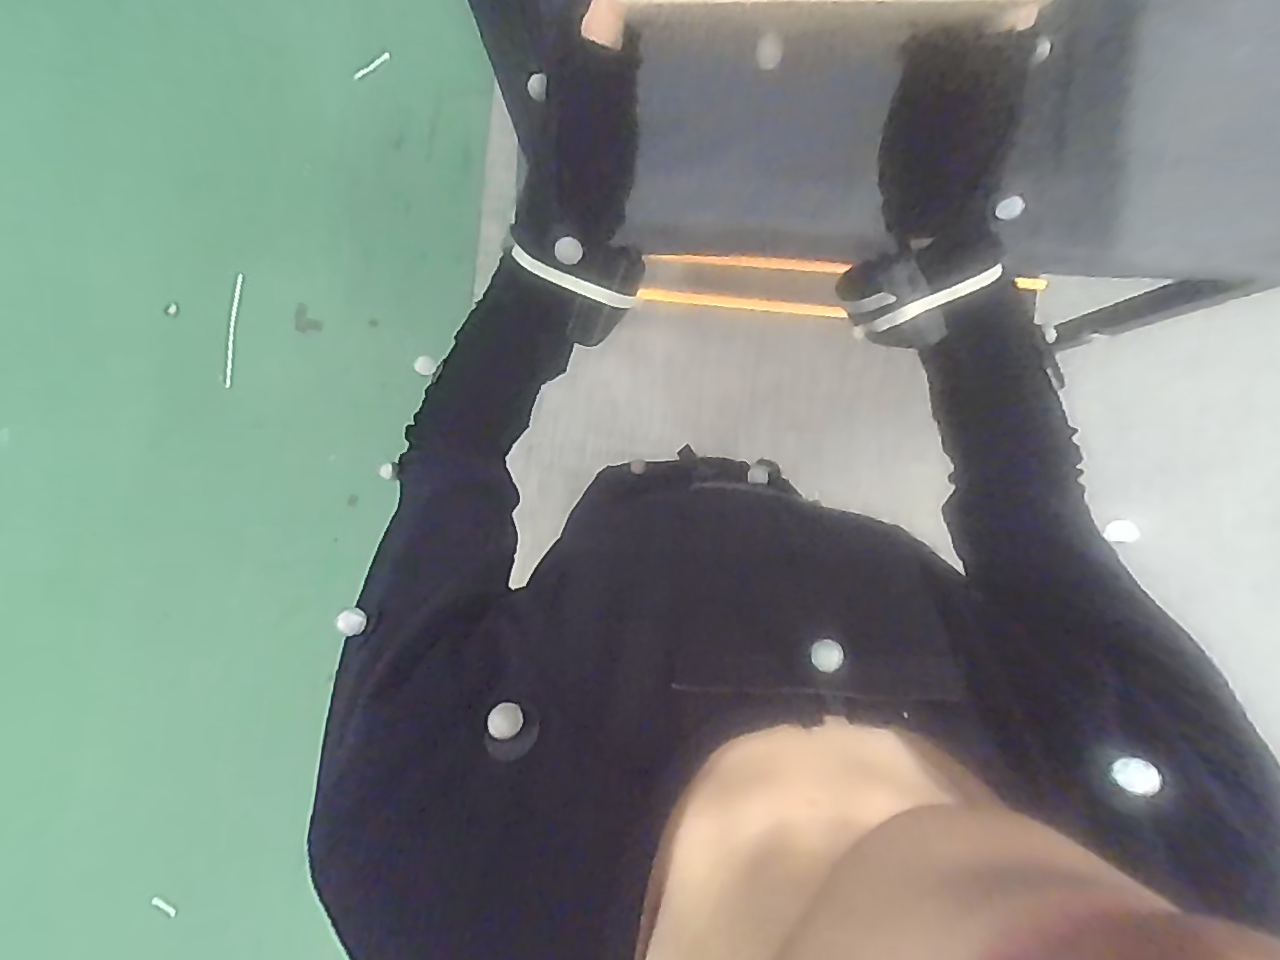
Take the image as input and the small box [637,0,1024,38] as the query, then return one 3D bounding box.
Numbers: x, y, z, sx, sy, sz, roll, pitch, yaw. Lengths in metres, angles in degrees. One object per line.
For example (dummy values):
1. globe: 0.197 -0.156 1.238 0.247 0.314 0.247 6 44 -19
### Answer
1. small box: 0.076 -0.305 0.226 0.168 0.176 0.179 3 127 3
